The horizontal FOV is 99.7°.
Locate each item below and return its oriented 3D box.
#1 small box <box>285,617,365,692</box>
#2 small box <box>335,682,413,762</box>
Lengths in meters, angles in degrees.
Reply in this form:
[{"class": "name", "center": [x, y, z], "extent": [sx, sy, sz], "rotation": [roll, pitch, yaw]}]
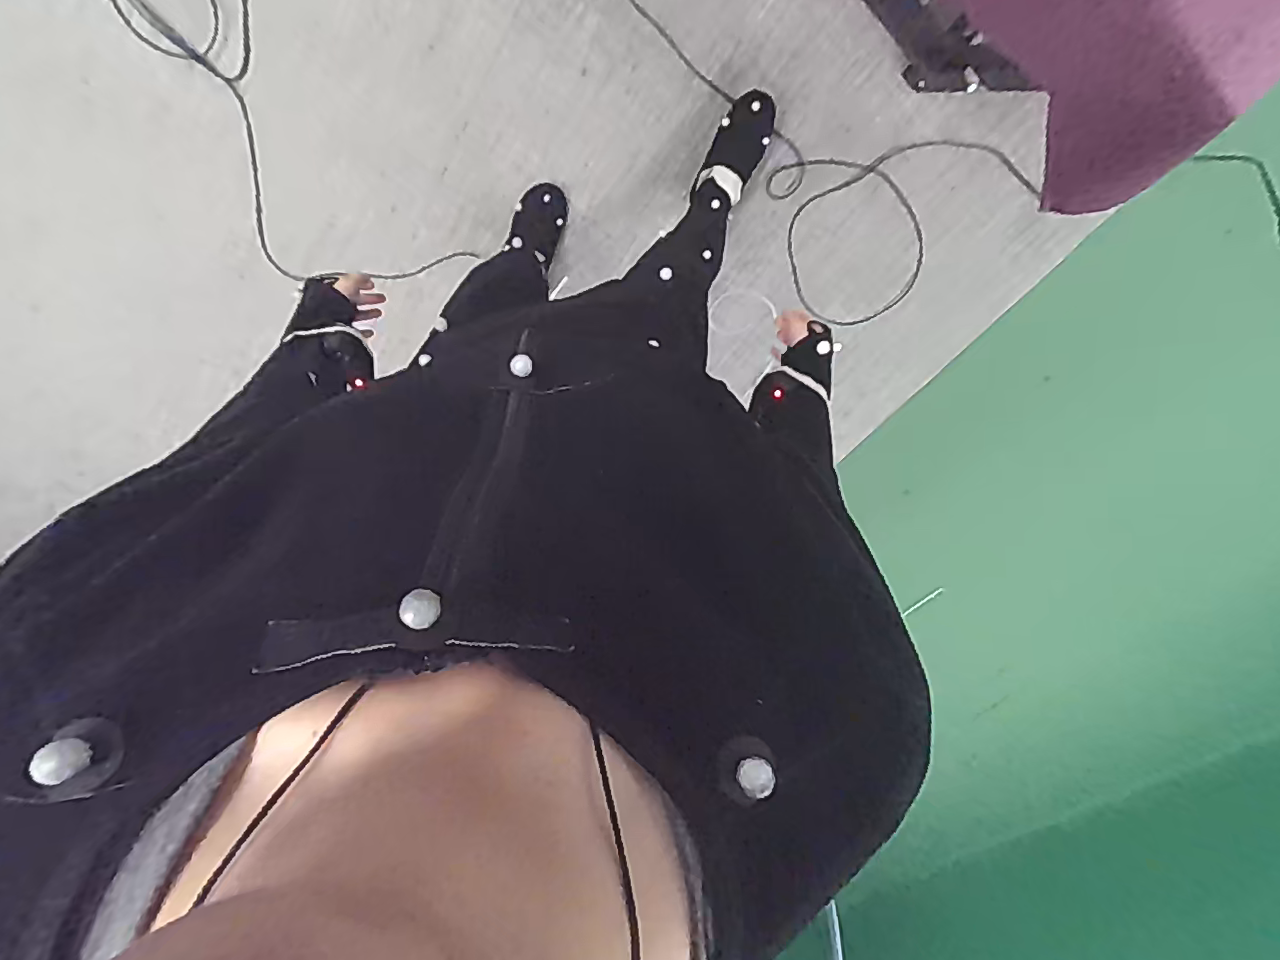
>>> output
[{"class": "small box", "center": [-1.109, 0.615, 1.915], "extent": [0.179, 0.176, 0.168], "rotation": [29, 118, -24]}, {"class": "small box", "center": [-0.918, 0.842, 1.883], "extent": [0.168, 0.176, 0.179], "rotation": [34, 116, -24]}]
